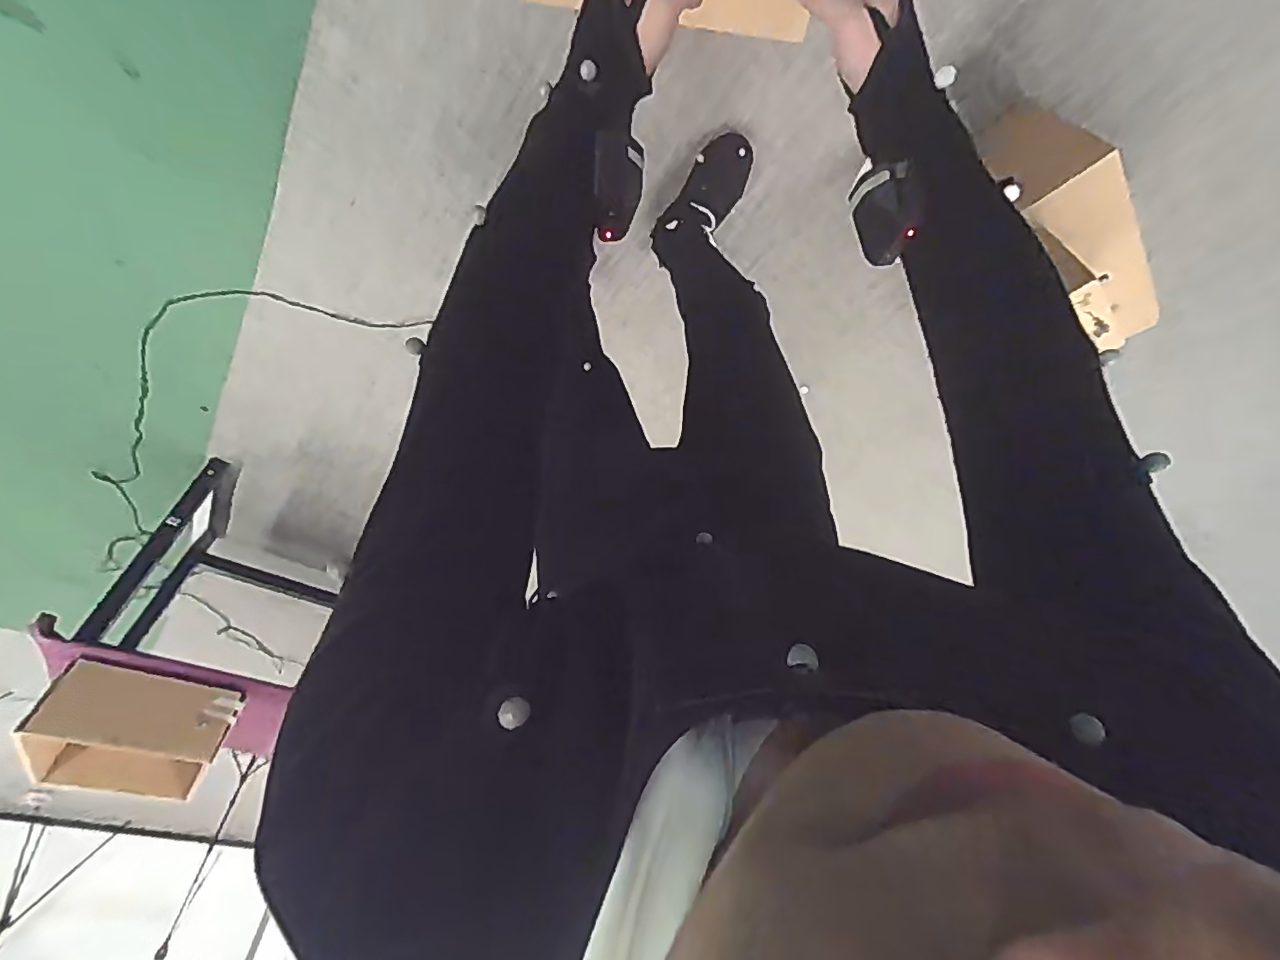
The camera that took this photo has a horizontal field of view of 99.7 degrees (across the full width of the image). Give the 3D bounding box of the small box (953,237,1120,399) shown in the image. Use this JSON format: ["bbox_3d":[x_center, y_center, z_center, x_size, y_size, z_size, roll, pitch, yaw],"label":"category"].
[{"bbox_3d":[0.685,-0.284,0.957,0.168,0.176,0.179,34,130,-30],"label":"small box"}]

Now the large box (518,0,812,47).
[{"bbox_3d":[0.051,-0.840,0.742,0.408,0.320,0.320,6,136,-3],"label":"large box"}]
